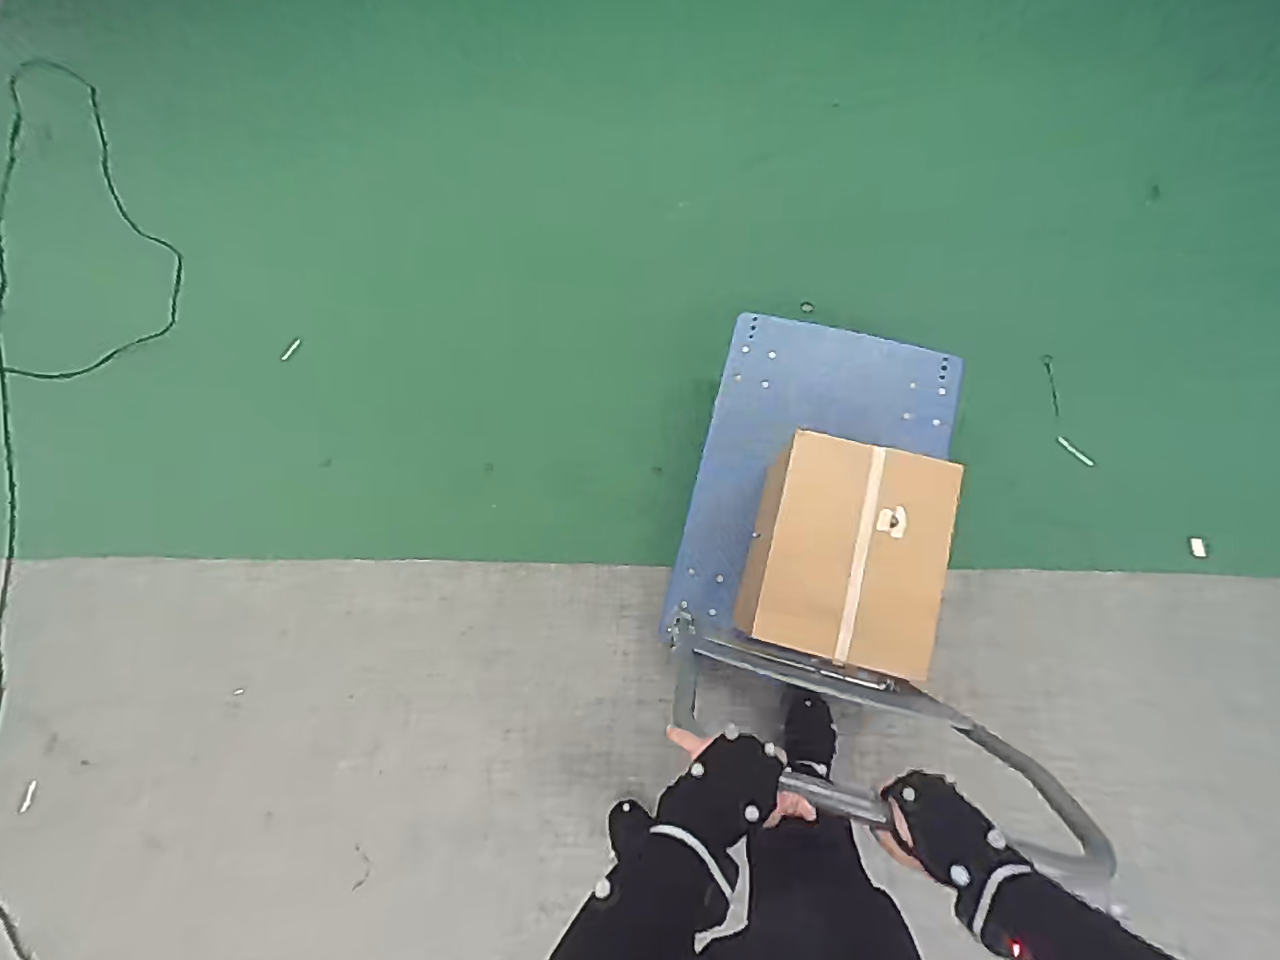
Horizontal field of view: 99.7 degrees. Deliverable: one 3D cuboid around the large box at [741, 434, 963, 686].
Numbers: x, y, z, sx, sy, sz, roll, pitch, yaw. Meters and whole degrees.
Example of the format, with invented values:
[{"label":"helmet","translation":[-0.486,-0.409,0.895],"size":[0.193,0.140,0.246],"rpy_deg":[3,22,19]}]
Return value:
[{"label":"large box","translation":[0.412,0.164,1.125],"size":[0.320,0.320,0.408],"rpy_deg":[14,81,6]}]
